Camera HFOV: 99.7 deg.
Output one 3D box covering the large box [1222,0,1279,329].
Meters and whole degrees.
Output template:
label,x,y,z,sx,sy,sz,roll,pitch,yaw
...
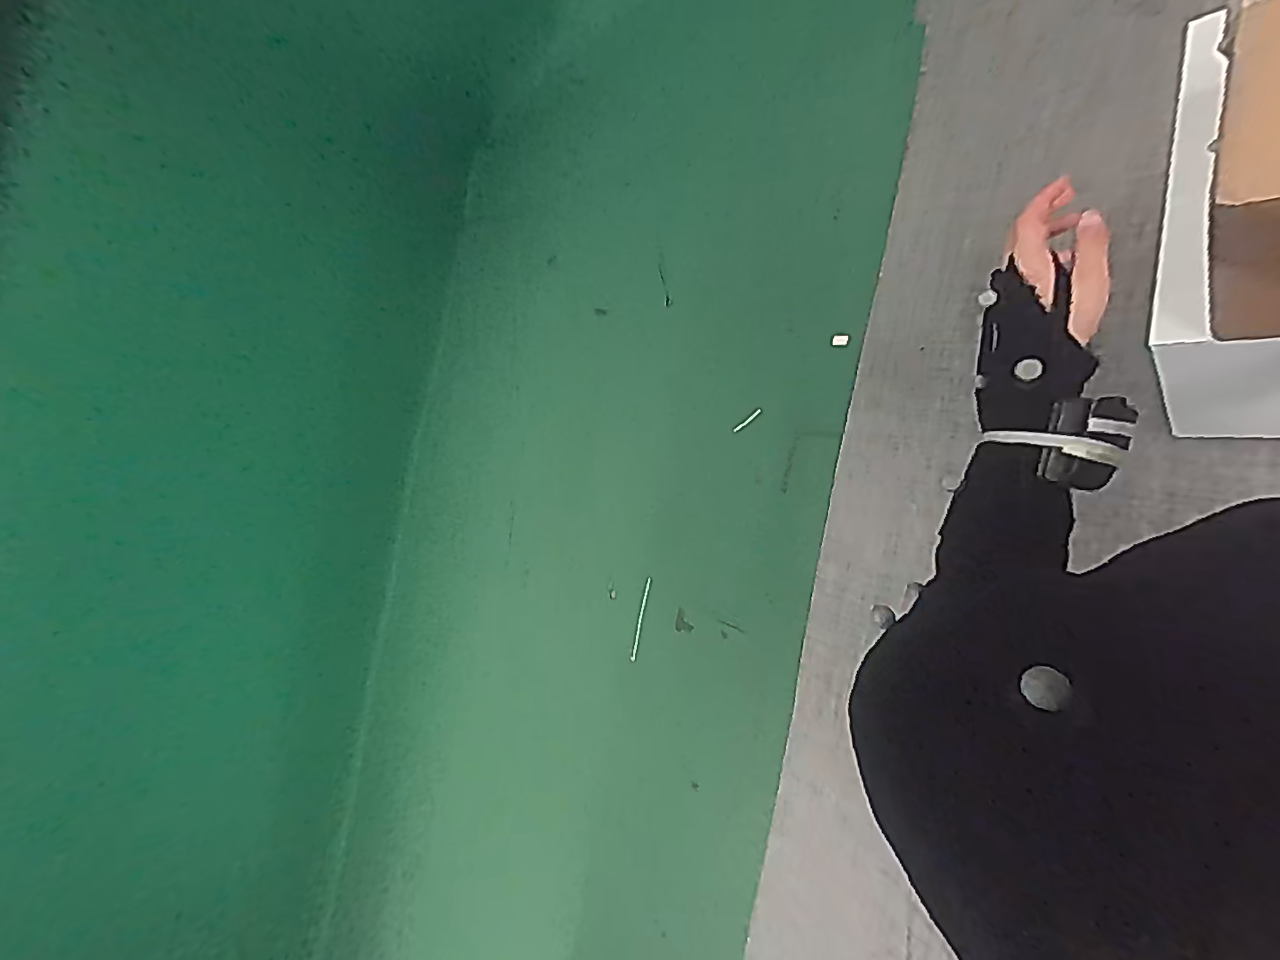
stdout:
label,x,y,z,sx,sy,sz,roll,pitch,yaw
large box,0.685,-0.316,0.349,0.408,0.320,0.320,7,88,46
